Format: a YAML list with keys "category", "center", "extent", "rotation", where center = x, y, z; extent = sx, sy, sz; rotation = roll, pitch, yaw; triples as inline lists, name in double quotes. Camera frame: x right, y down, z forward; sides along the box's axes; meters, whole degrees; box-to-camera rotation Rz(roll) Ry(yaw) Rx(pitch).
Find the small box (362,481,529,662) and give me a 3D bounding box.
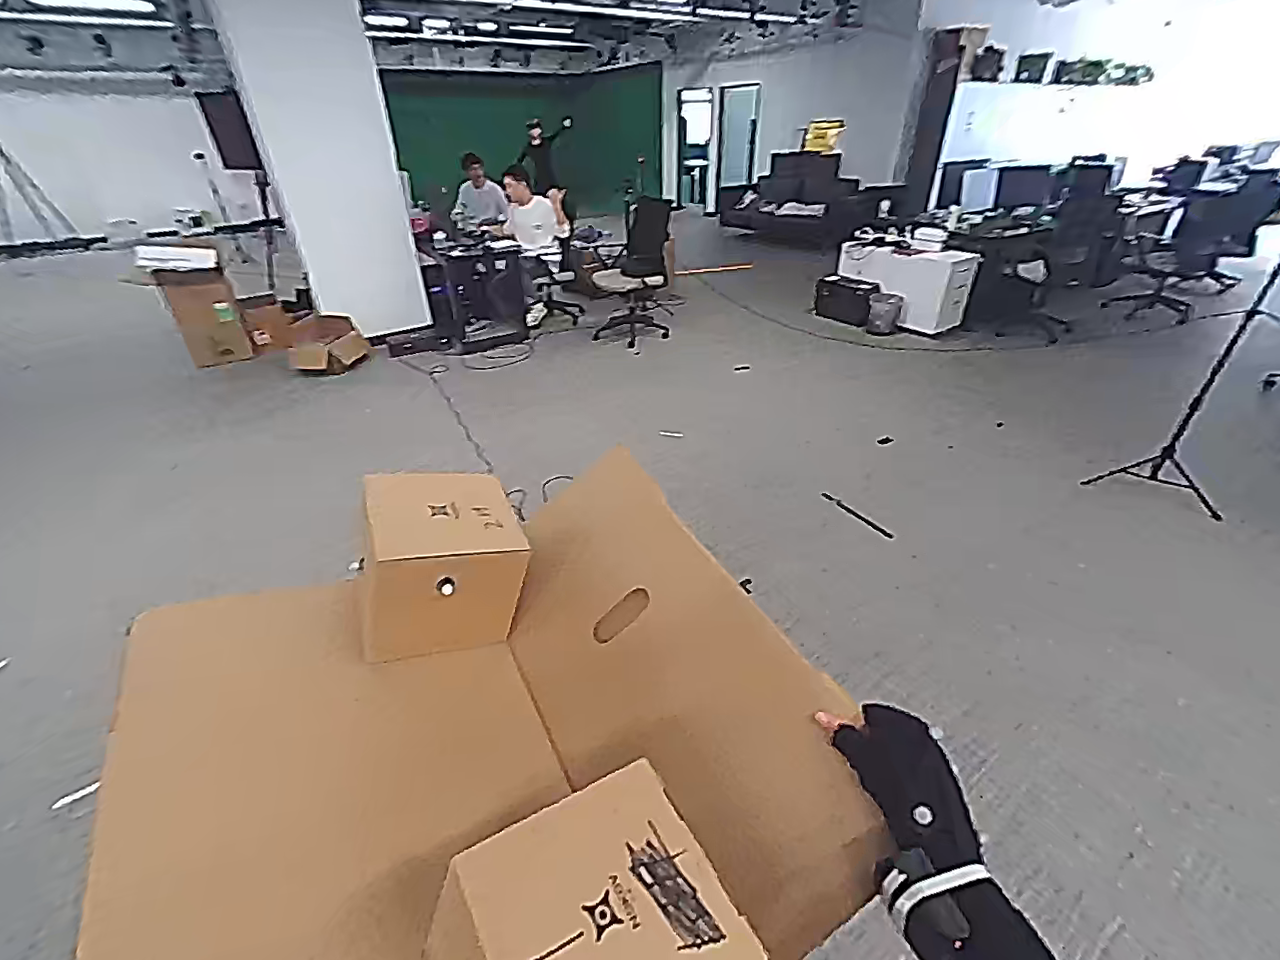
- category: "small box"
  center: [-0.266, 0.116, 0.713]
  extent: [0.179, 0.176, 0.168]
  rotation: [1, 35, -32]
